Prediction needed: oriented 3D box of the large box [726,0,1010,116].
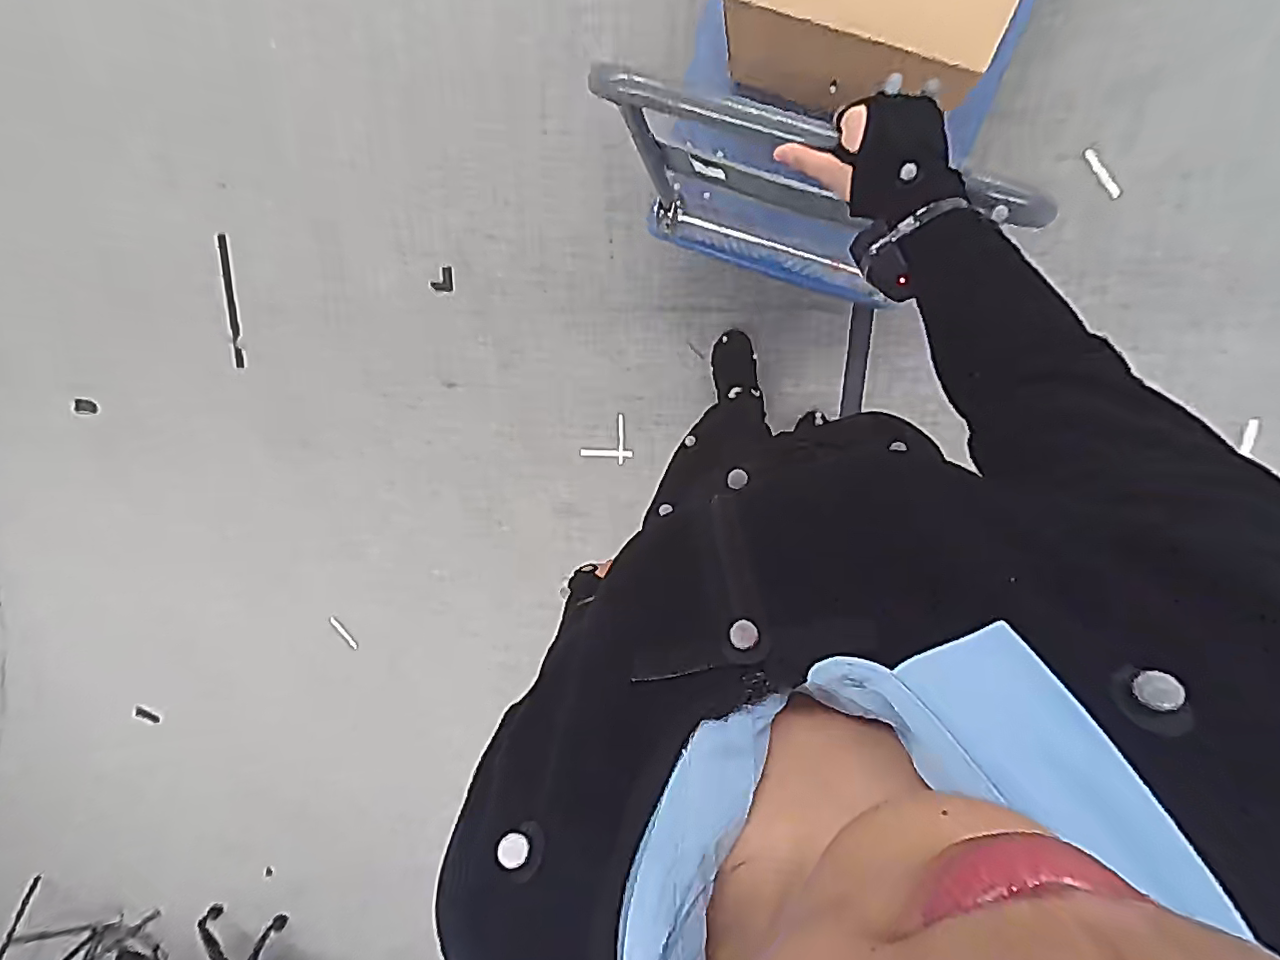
[{"bbox_3d":[0.383,-0.849,0.855,0.408,0.320,0.320,23,109,6],"label":"large box"}]
